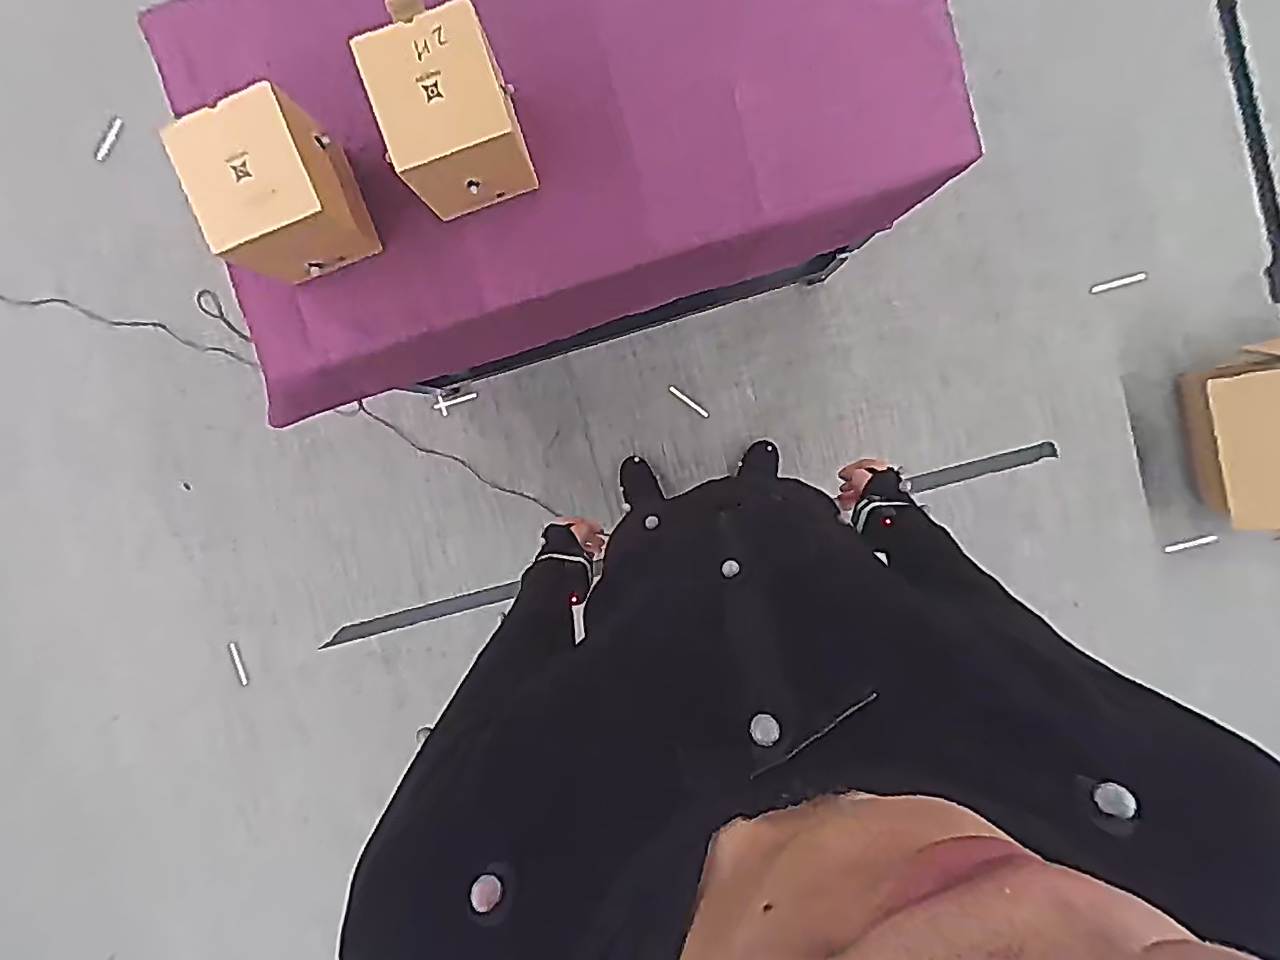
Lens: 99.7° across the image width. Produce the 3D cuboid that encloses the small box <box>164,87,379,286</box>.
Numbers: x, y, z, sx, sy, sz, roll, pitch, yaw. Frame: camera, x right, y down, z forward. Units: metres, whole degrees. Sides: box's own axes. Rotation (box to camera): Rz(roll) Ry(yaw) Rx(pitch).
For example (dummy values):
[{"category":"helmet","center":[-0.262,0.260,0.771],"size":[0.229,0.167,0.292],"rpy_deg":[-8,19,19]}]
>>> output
[{"category":"small box","center":[-0.524,-0.414,0.795],"size":[0.168,0.176,0.179],"rpy_deg":[-20,94,3]}]

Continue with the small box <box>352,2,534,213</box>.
[{"category":"small box","center":[-0.268,-0.514,0.781],"size":[0.168,0.176,0.179],"rpy_deg":[-18,94,2]}]
